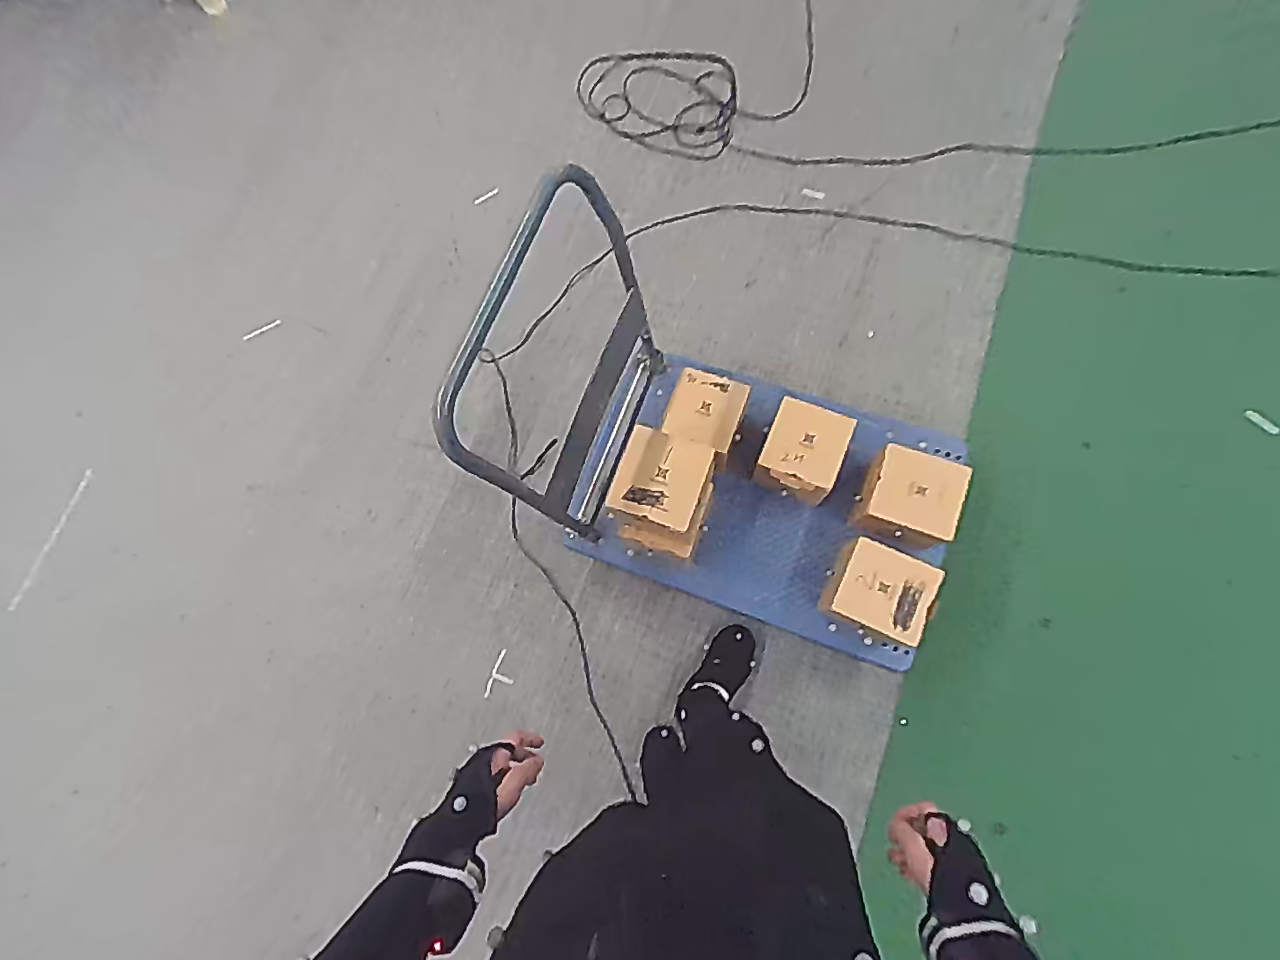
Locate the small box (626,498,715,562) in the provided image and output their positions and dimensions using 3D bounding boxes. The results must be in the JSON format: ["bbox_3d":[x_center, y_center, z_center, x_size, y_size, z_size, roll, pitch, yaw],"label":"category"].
[{"bbox_3d":[0.058,0.074,1.265,0.168,0.176,0.179,-39,74,-3],"label":"small box"}]

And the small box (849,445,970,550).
[{"bbox_3d":[0.588,0.046,1.203,0.179,0.176,0.168,21,79,12],"label":"small box"}]

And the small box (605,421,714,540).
[{"bbox_3d":[0.047,0.009,1.103,0.168,0.176,0.179,20,78,10],"label":"small box"}]

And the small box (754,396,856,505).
[{"bbox_3d":[0.373,-0.063,1.256,0.168,0.176,0.179,23,79,13],"label":"small box"}]
